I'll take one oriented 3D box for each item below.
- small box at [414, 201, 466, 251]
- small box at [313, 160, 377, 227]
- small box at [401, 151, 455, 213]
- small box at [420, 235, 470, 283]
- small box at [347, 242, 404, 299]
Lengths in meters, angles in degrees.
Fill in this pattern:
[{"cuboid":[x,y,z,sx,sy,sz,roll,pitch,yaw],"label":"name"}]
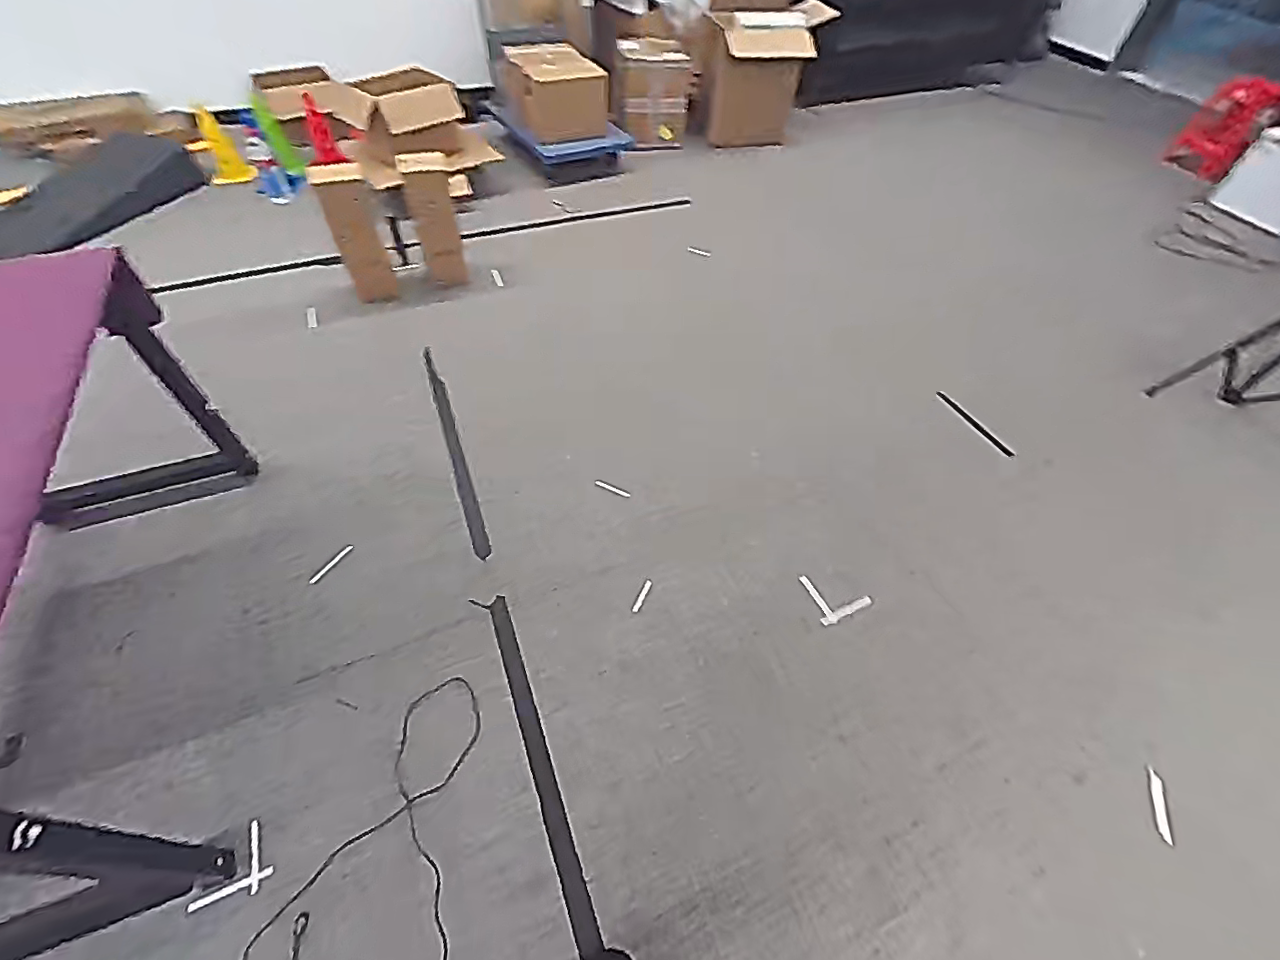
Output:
[{"cuboid":[-0.859,-1.099,2.308,0.179,0.176,0.168,-15,55,-16],"label":"small box"},{"cuboid":[-1.136,-1.107,2.091,0.179,0.176,0.168,-18,53,-16],"label":"small box"},{"cuboid":[-0.849,-1.198,2.178,0.179,0.176,0.168,-12,54,-14],"label":"small box"},{"cuboid":[-0.879,-1.008,2.445,0.168,0.176,0.179,-17,54,-17],"label":"small box"},{"cuboid":[-1.149,-0.907,2.349,0.179,0.176,0.168,-16,54,-16],"label":"small box"}]
